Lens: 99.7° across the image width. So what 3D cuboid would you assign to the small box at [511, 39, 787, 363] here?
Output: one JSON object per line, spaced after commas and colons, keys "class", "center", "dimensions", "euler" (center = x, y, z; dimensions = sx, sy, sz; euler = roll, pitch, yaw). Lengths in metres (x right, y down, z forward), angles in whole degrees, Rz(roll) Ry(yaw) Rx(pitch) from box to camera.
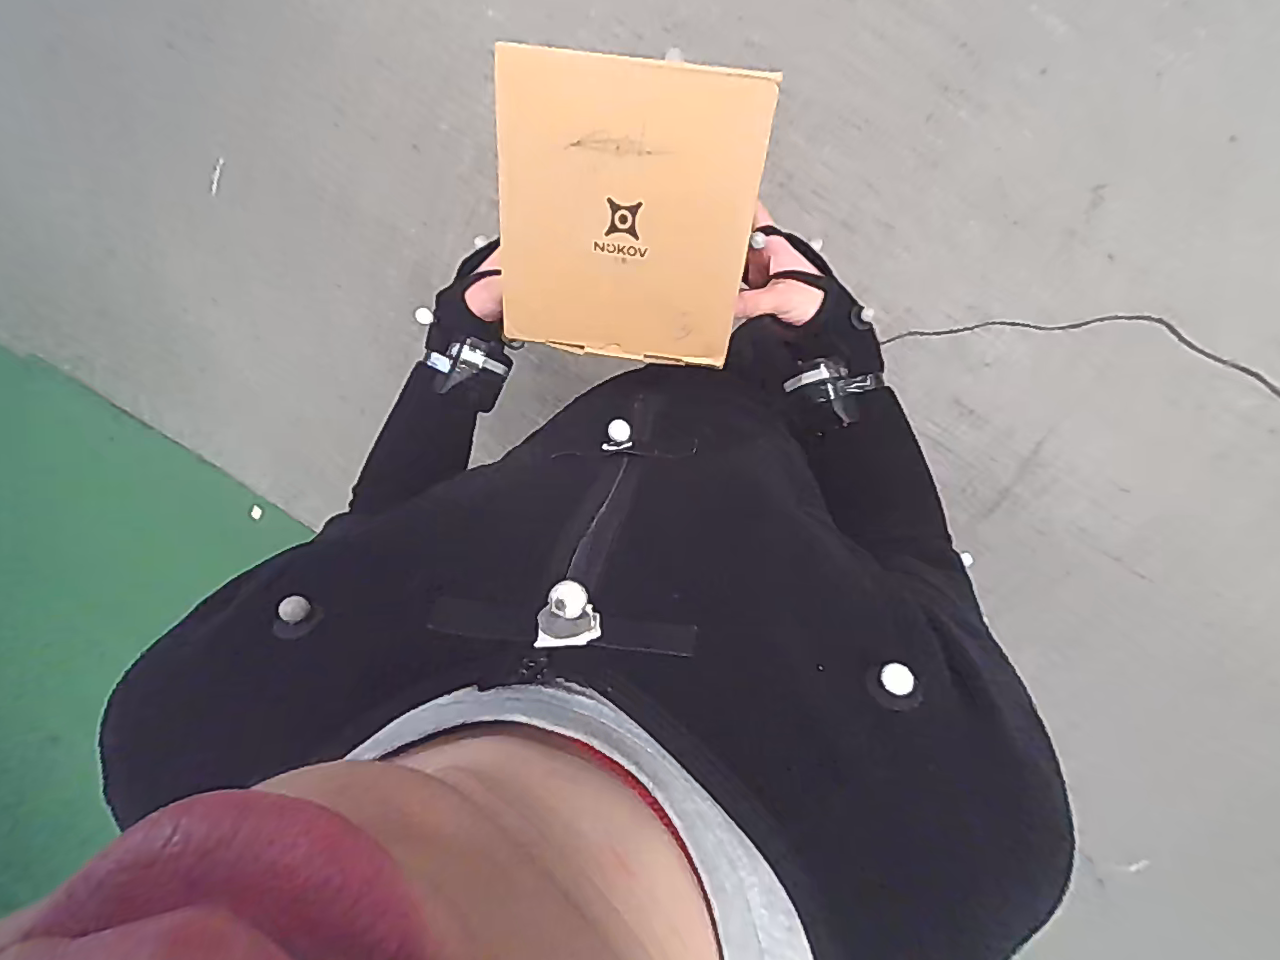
{"class": "small box", "center": [0.004, -0.213, 0.423], "dimensions": [0.168, 0.176, 0.179], "euler": [8, 122, 1]}
